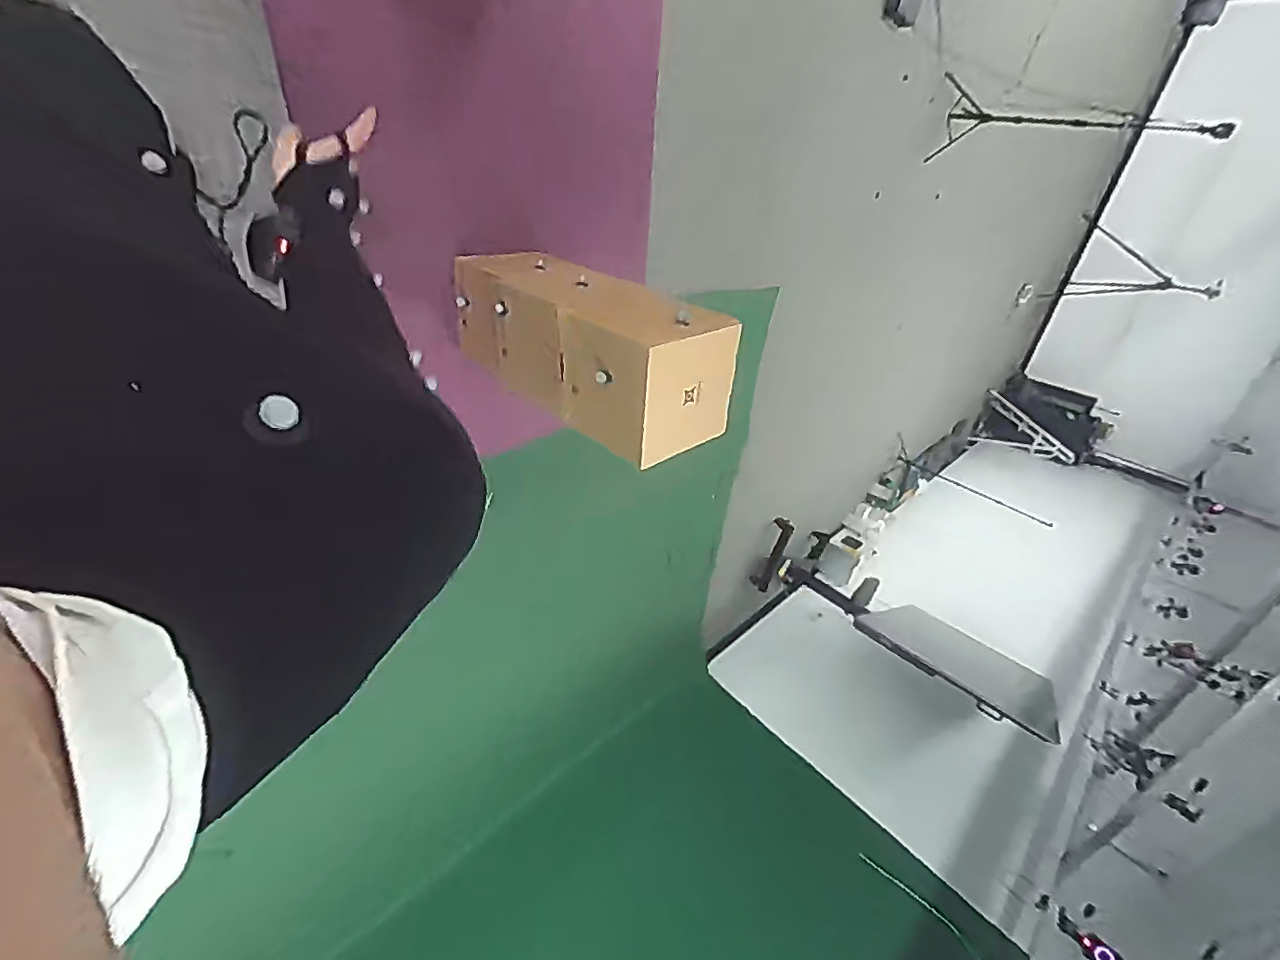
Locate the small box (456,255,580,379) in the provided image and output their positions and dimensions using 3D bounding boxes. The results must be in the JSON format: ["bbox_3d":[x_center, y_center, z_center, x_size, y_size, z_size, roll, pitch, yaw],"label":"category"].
[{"bbox_3d":[-0.197,-0.290,0.941,0.179,0.176,0.168,-21,131,-38],"label":"small box"}]

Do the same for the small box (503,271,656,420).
[{"bbox_3d":[-0.098,-0.215,0.833,0.179,0.176,0.168,-26,133,-37],"label":"small box"}]

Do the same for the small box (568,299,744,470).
[{"bbox_3d":[0.014,-0.141,0.742,0.179,0.176,0.168,-25,133,-37],"label":"small box"}]
